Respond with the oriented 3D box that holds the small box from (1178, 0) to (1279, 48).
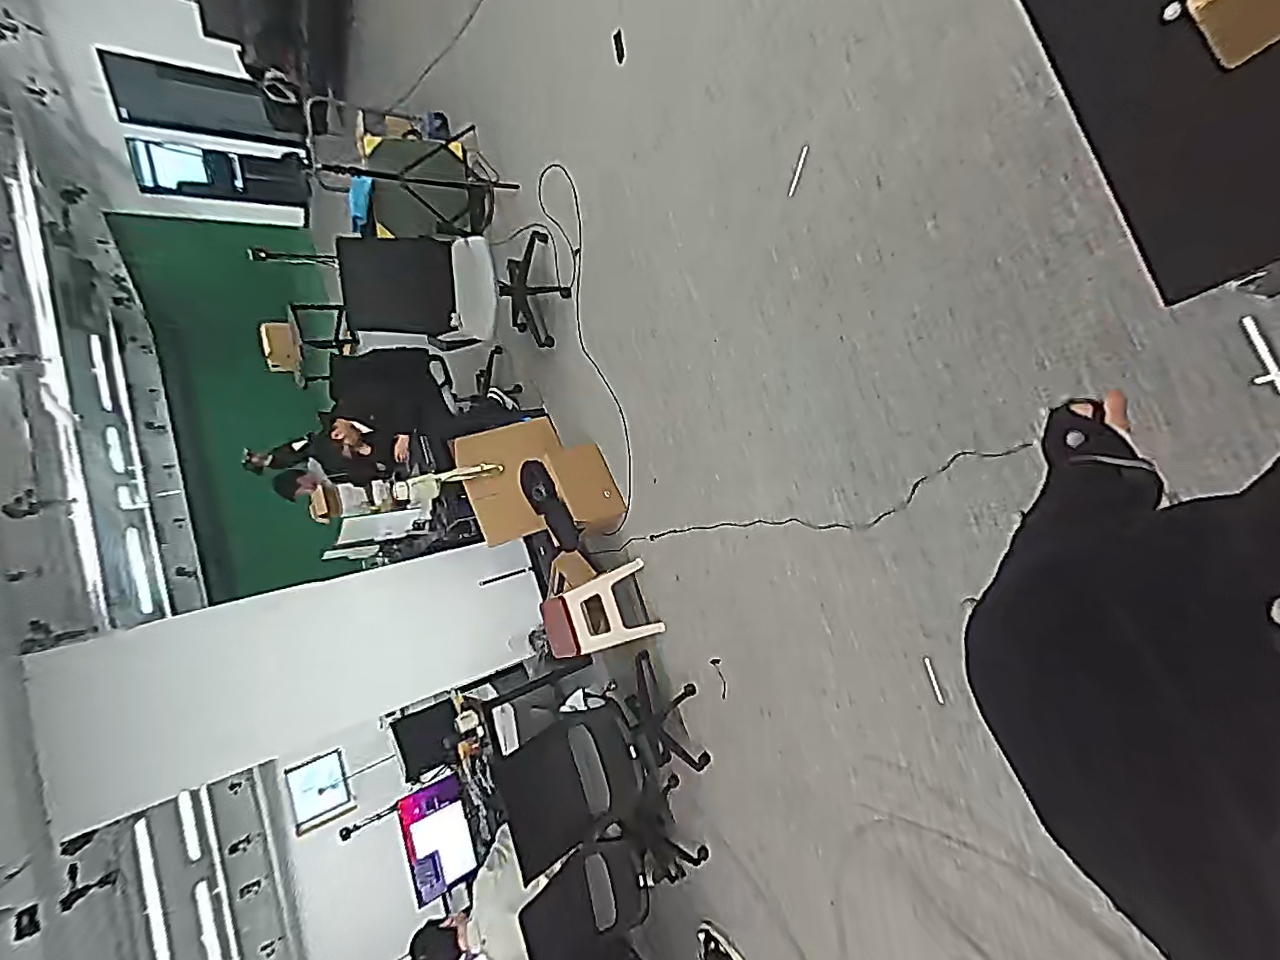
[{"bbox_3d":[0.500,-0.475,0.406,0.168,0.176,0.179,-28,76,53],"label":"small box"}]
